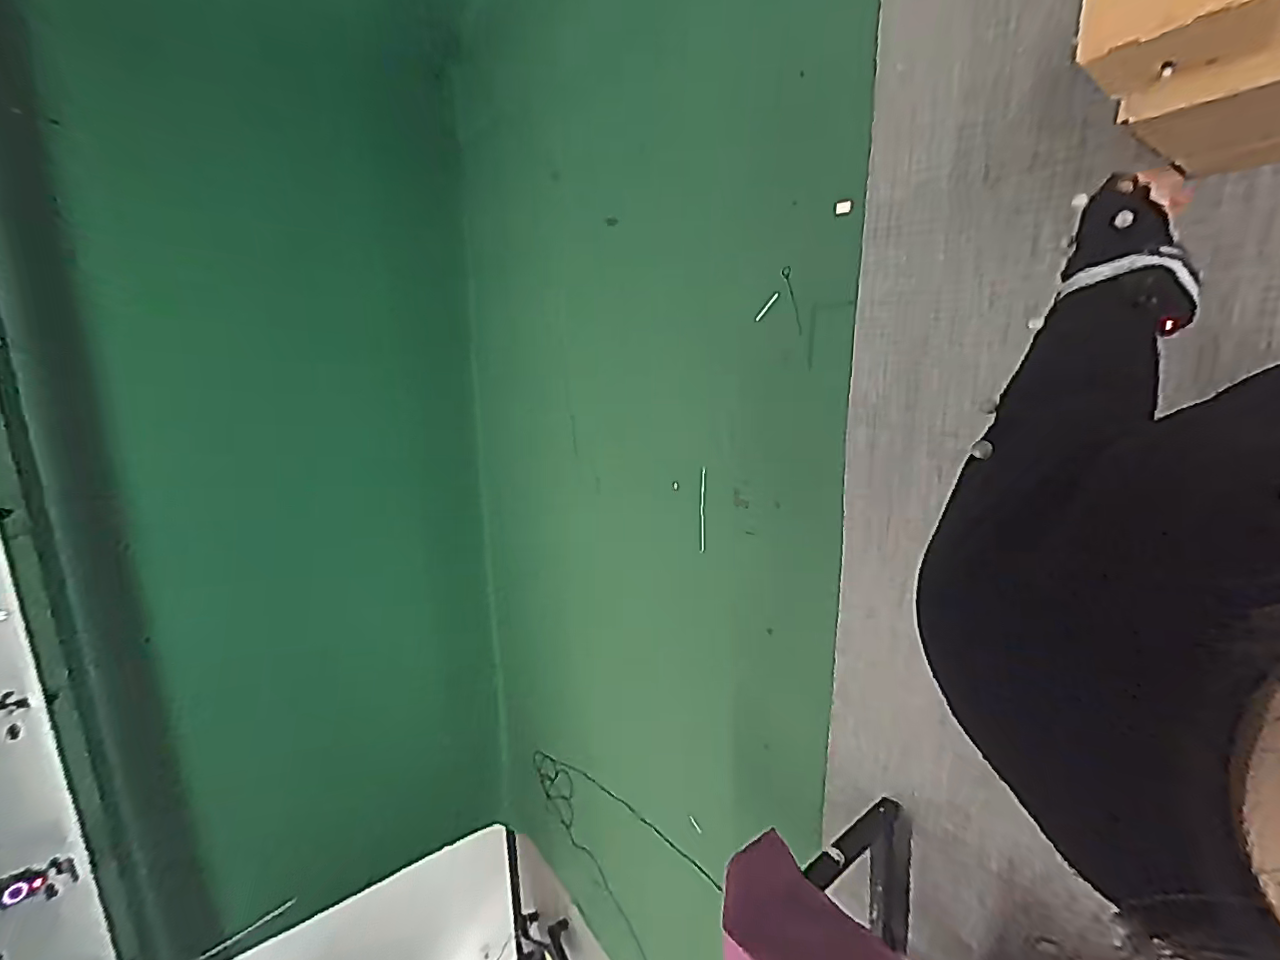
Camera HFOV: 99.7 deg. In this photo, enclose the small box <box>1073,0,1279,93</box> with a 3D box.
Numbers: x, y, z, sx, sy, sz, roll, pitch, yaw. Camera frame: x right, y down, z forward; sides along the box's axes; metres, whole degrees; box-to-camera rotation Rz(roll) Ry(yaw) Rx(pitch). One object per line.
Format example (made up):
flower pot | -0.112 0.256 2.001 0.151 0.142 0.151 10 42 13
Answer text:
small box | 0.655 -0.610 0.648 0.168 0.176 0.179 13 110 51
